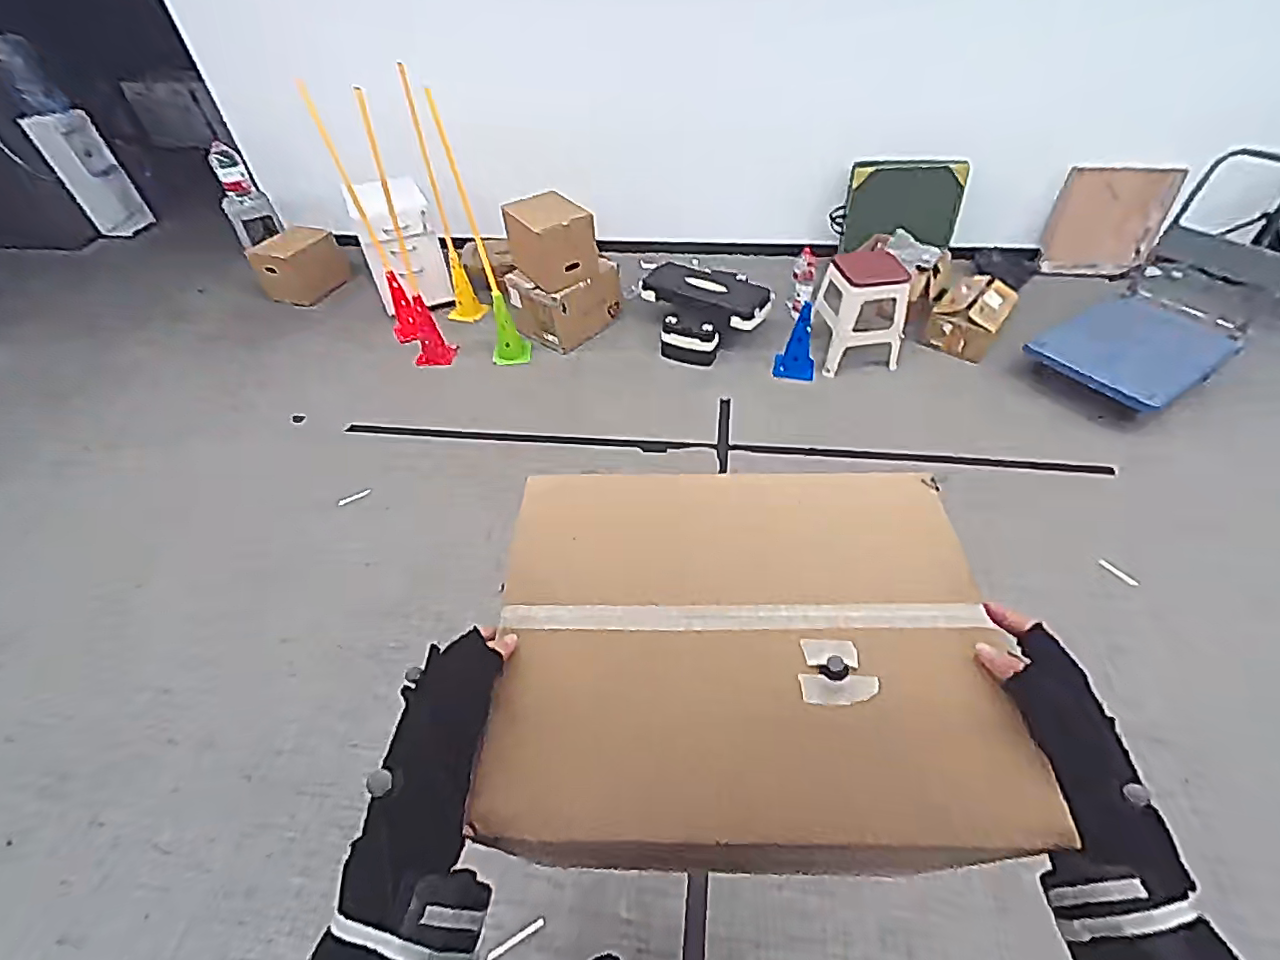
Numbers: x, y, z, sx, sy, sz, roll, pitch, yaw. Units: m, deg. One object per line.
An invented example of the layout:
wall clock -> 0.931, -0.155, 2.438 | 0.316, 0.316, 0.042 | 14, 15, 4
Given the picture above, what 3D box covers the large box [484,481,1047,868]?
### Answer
large box -> 0.088, 0.216, 0.584 | 0.408, 0.320, 0.320 | 0, 52, 2
